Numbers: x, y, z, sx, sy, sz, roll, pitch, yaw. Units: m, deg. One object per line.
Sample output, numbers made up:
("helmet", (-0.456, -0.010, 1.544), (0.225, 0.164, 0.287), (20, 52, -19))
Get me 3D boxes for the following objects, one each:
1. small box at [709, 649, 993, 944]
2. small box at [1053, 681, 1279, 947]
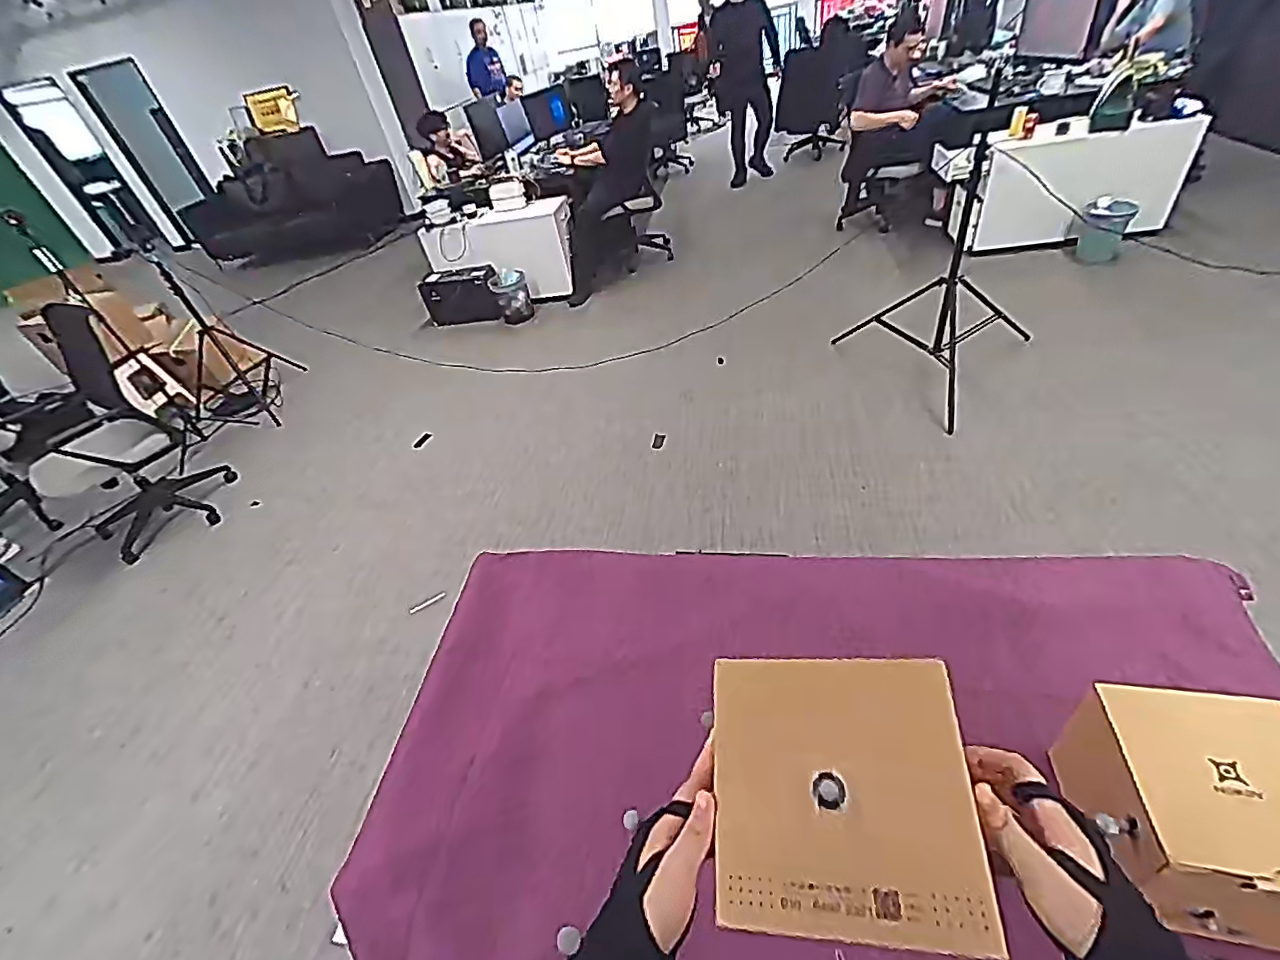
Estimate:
("small box", (0.153, 0.244, 0.432), (0.168, 0.179, 0.176), (-6, 57, 15))
("small box", (0.570, 0.340, 0.561), (0.168, 0.176, 0.179), (1, 41, 16))
